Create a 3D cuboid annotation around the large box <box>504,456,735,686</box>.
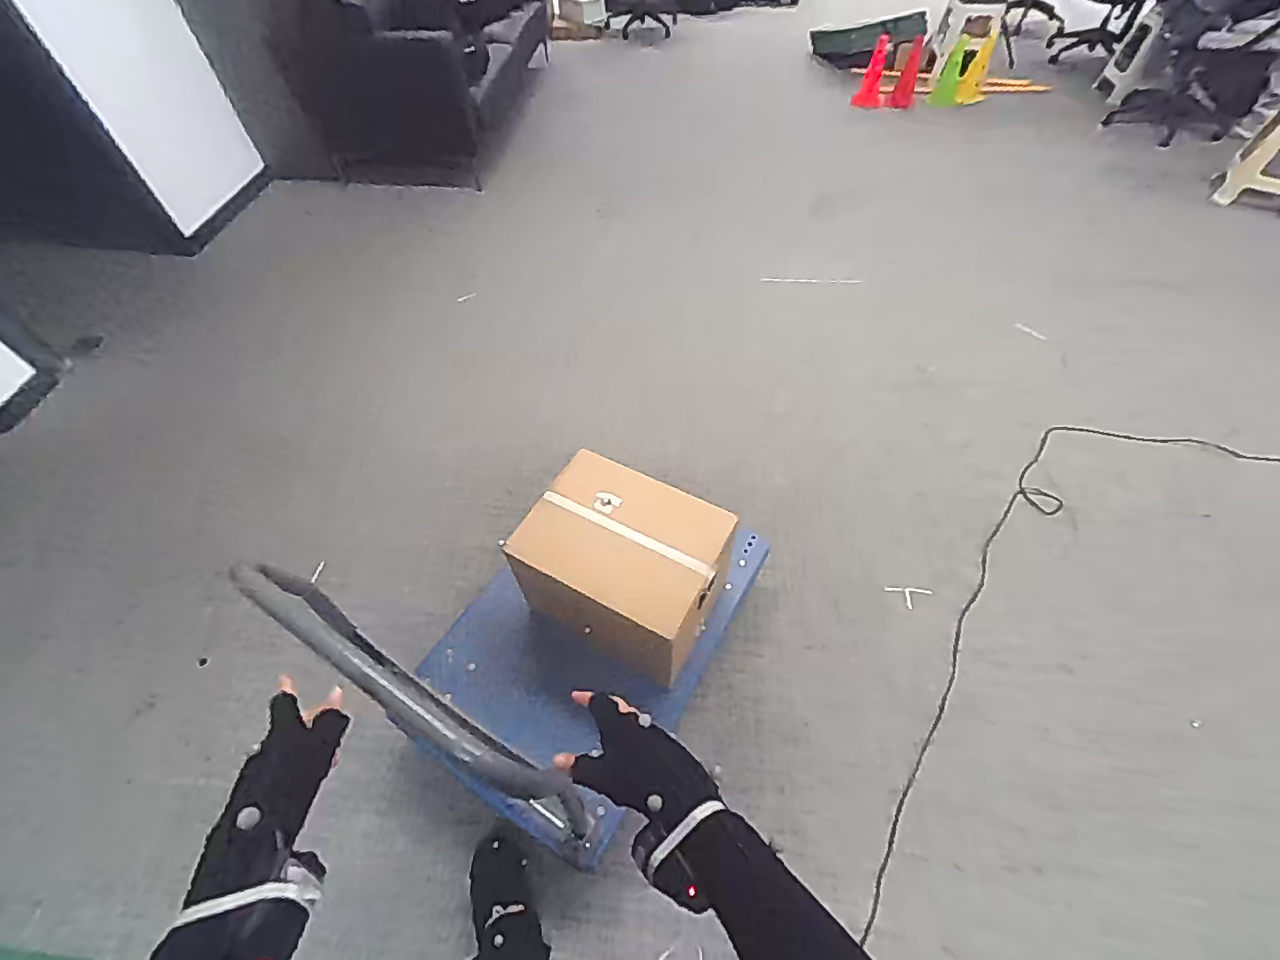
[{"bbox_3d":[-0.032,0.209,1.255,0.408,0.320,0.320,23,56,20],"label":"large box"}]
